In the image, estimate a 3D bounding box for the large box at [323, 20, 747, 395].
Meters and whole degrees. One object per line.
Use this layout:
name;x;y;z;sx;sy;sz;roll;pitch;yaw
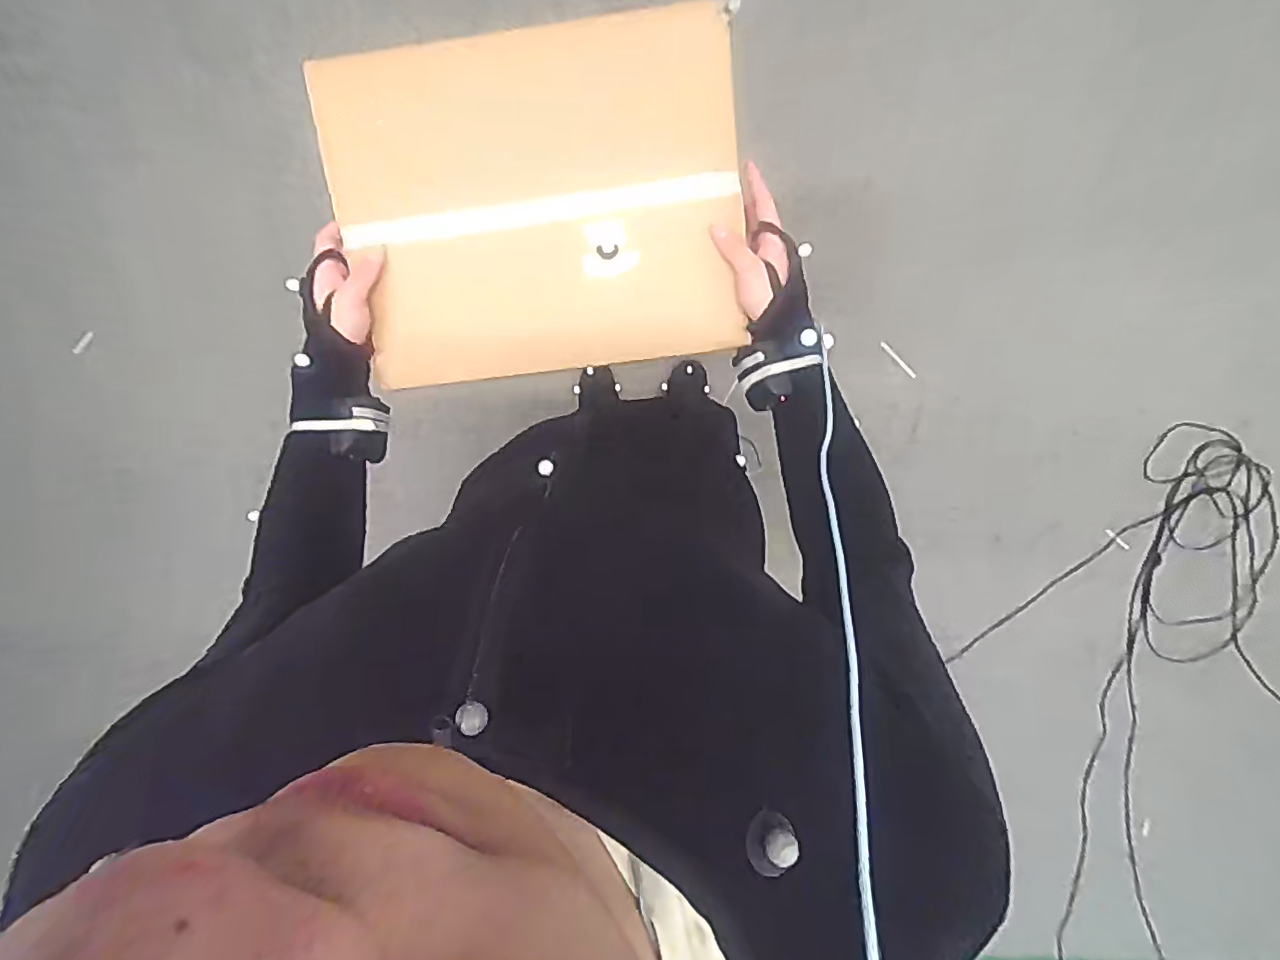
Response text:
large box;-0.099;-0.301;0.703;0.408;0.320;0.320;-7;104;3
